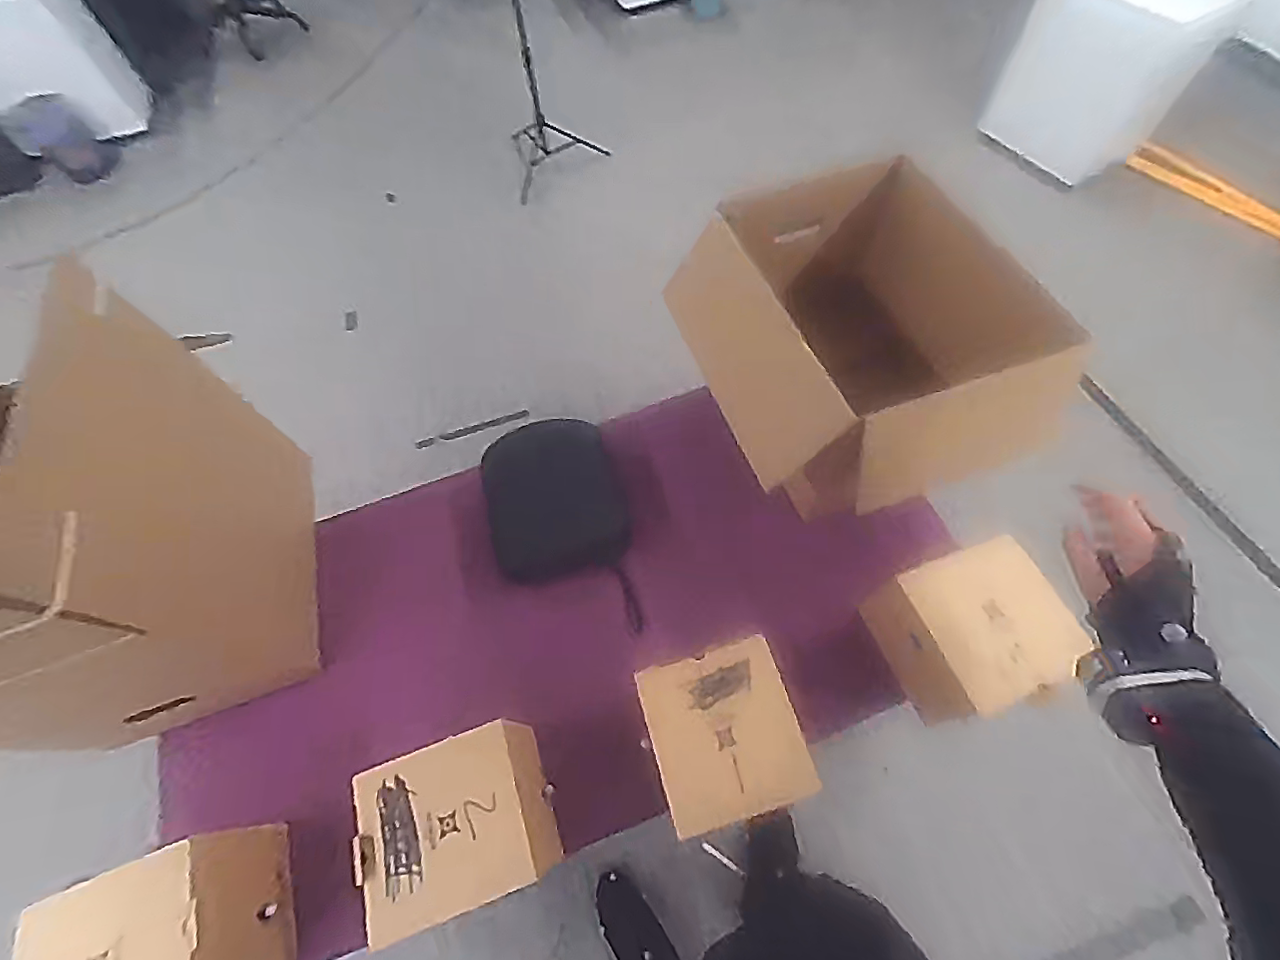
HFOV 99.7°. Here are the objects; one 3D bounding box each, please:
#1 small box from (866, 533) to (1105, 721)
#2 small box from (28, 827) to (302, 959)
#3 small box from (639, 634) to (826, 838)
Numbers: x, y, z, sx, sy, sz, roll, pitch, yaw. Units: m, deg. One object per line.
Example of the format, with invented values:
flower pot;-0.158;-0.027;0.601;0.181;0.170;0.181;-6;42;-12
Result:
small box;0.430;0.200;0.714;0.168;0.176;0.179;-20;63;-5
small box;-0.526;0.524;0.616;0.179;0.176;0.168;-21;63;-8
small box;0.103;0.317;0.678;0.168;0.176;0.179;-17;63;-4
